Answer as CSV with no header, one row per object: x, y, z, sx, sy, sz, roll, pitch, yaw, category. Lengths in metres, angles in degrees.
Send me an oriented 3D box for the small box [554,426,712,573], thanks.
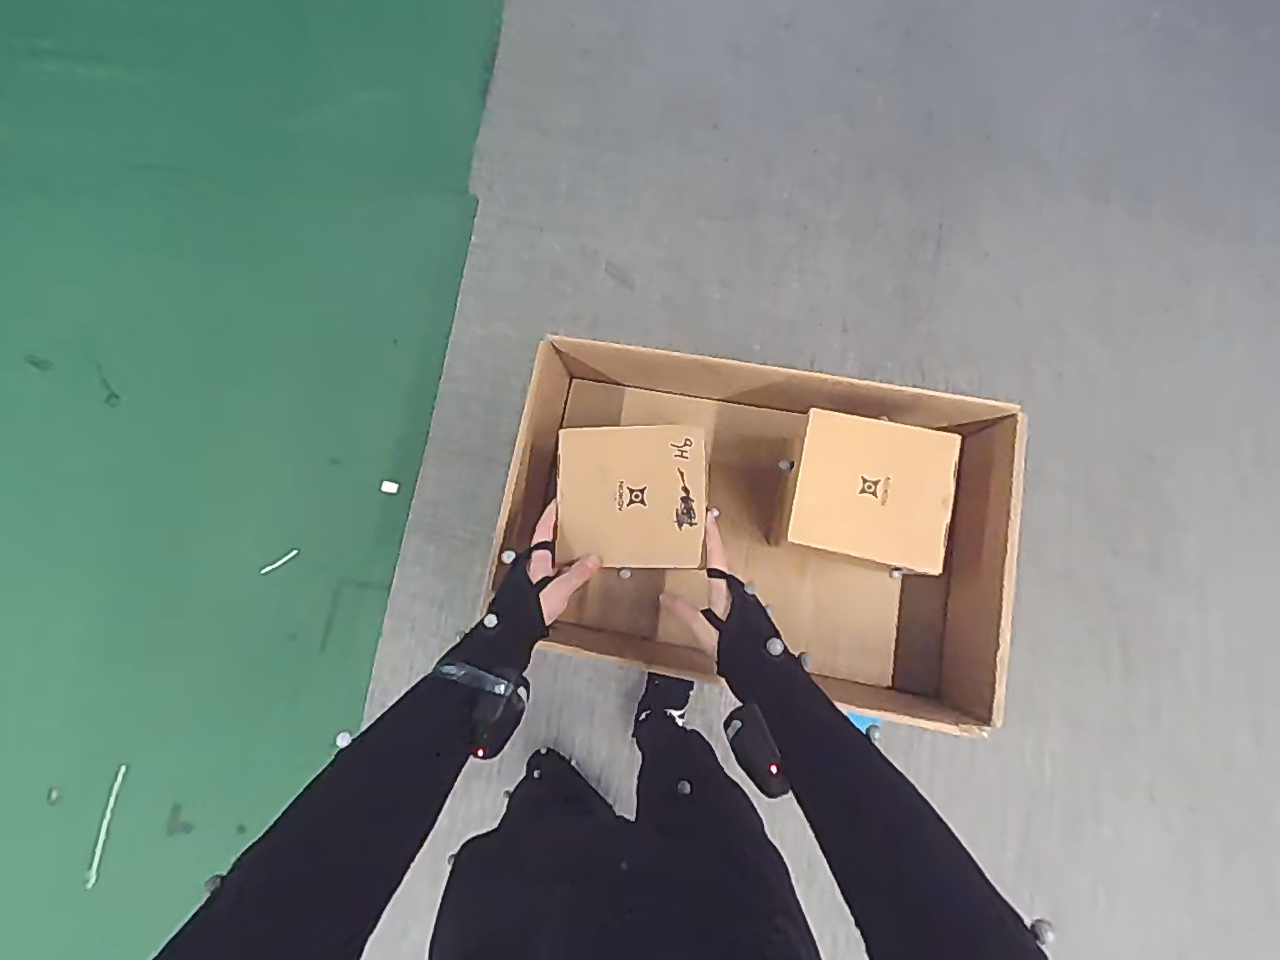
0.002,0.033,0.695,0.179,0.176,0.168,-1,80,9,small box
